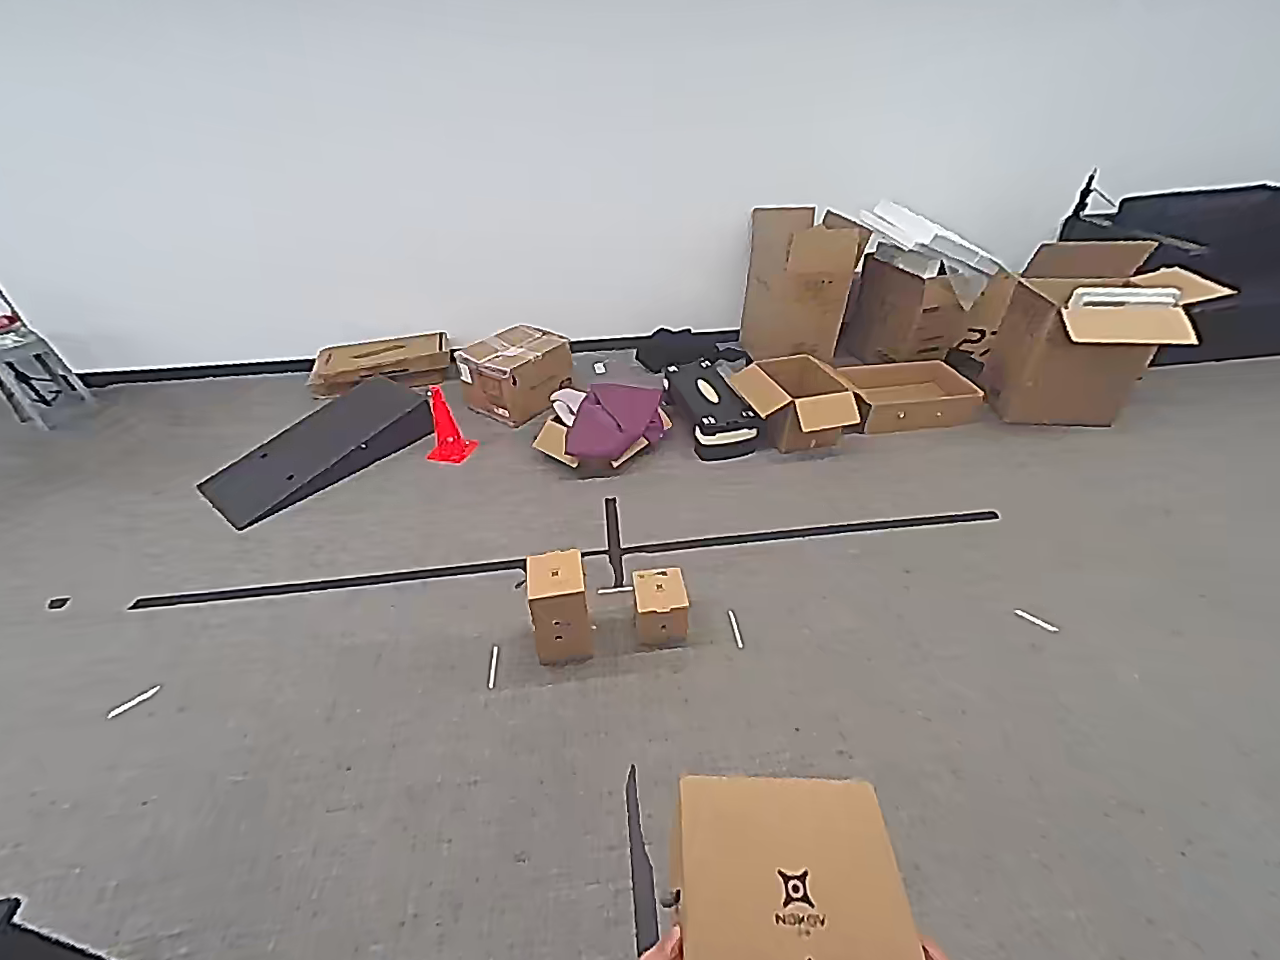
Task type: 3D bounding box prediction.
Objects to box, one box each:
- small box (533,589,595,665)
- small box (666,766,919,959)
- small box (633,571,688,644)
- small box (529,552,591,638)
[{"bbox_3d":[-0.244,0.478,1.750,0.179,0.176,0.168,-6,38,-6],"label":"small box"},{"bbox_3d":[0.108,0.367,0.448,0.168,0.176,0.179,1,38,1],"label":"small box"},{"bbox_3d":[0.068,0.430,1.804,0.168,0.176,0.179,-5,38,-4],"label":"small box"},{"bbox_3d":[-0.245,0.350,1.650,0.168,0.176,0.179,-9,39,-6],"label":"small box"}]
